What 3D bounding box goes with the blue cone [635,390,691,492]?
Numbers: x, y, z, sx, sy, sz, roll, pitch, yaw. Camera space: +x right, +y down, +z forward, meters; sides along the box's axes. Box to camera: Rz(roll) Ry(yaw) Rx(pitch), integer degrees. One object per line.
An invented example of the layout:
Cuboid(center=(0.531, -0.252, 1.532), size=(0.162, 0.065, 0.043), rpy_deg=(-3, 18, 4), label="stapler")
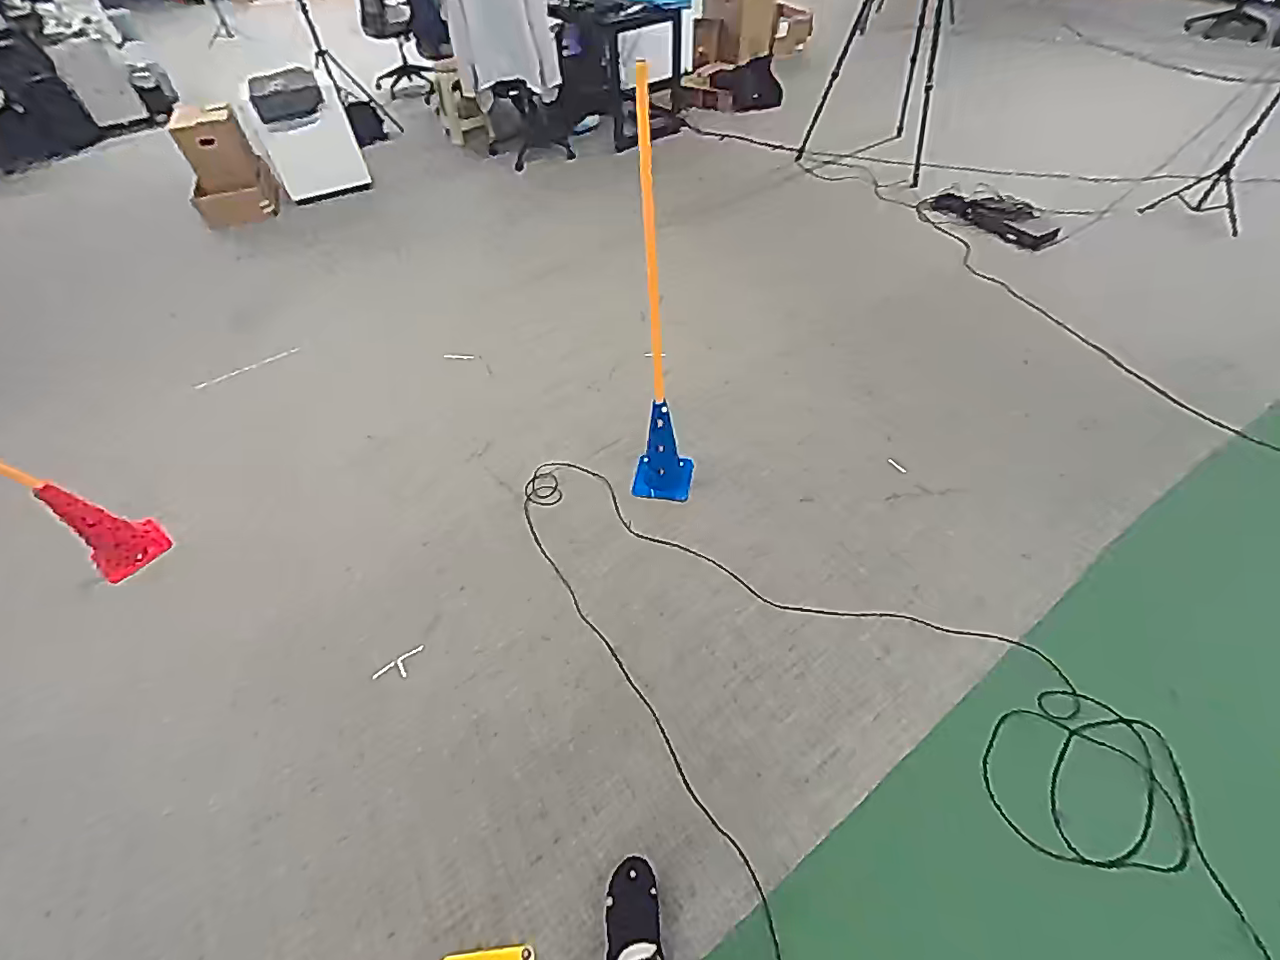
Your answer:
Cuboid(center=(0.074, -0.142, 1.801), size=(0.192, 0.380, 0.193), rpy_deg=(5, 48, 9), label="blue cone")
